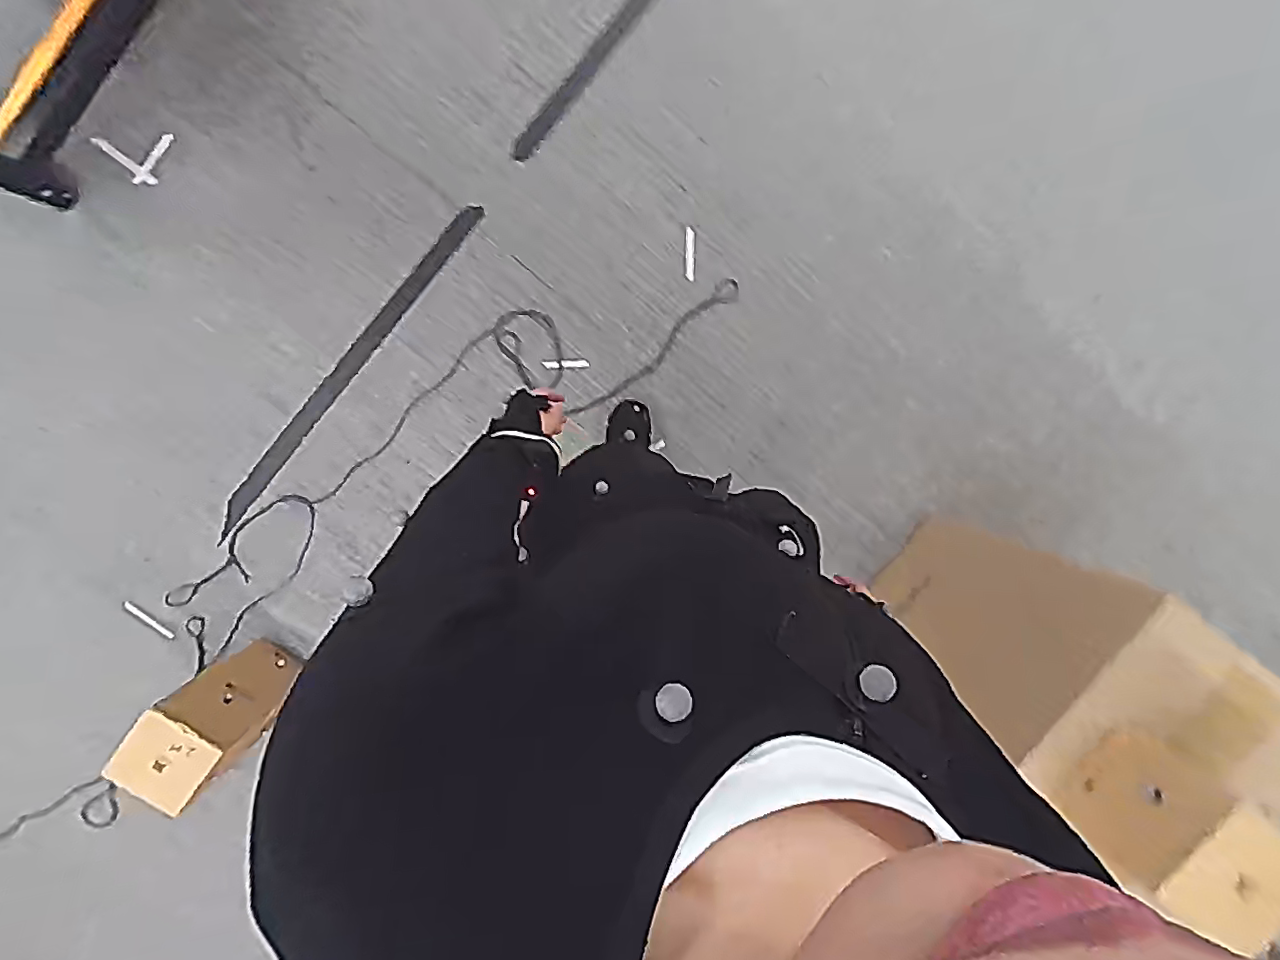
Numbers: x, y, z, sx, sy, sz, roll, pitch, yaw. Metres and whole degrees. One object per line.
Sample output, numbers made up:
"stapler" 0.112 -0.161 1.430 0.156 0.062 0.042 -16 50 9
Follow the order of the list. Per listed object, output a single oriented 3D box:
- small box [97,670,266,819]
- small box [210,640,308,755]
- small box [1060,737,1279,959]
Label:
"small box" -0.928 0.535 1.115 0.168 0.176 0.179 38 93 -7
"small box" -0.936 0.517 1.279 0.168 0.176 0.179 39 92 -7
"small box" 0.739 0.489 0.738 0.179 0.176 0.168 40 93 -7
